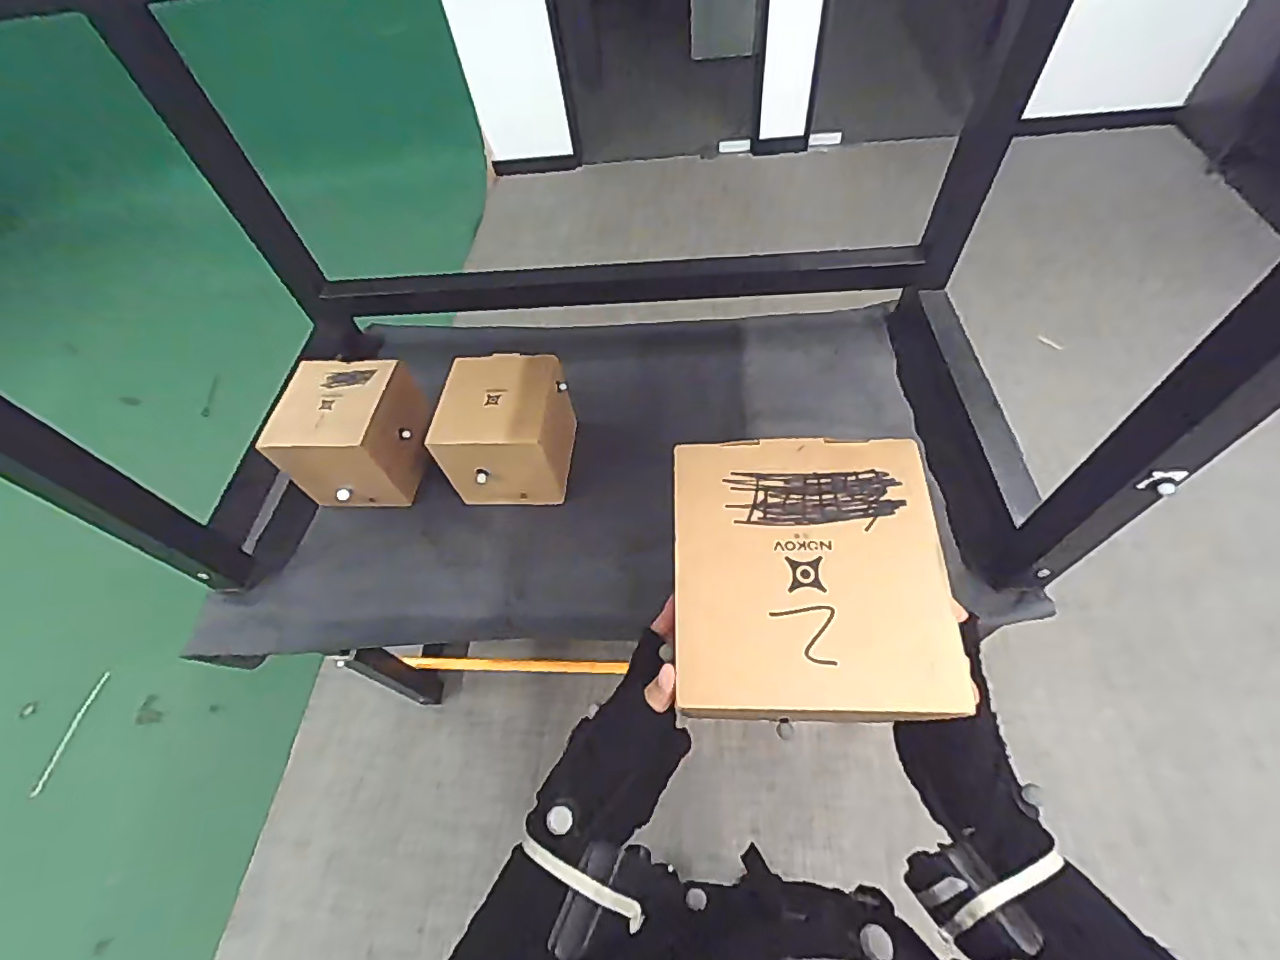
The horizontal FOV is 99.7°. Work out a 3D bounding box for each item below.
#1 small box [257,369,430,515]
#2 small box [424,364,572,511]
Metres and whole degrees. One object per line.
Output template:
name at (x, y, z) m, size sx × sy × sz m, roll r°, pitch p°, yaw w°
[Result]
small box at (-0.462, -0.062, 0.885) m, size 0.168 × 0.176 × 0.179 m, roll 0°, pitch 56°, yaw 6°
small box at (-0.211, -0.062, 0.861) m, size 0.168 × 0.176 × 0.179 m, roll 0°, pitch 55°, yaw 6°
